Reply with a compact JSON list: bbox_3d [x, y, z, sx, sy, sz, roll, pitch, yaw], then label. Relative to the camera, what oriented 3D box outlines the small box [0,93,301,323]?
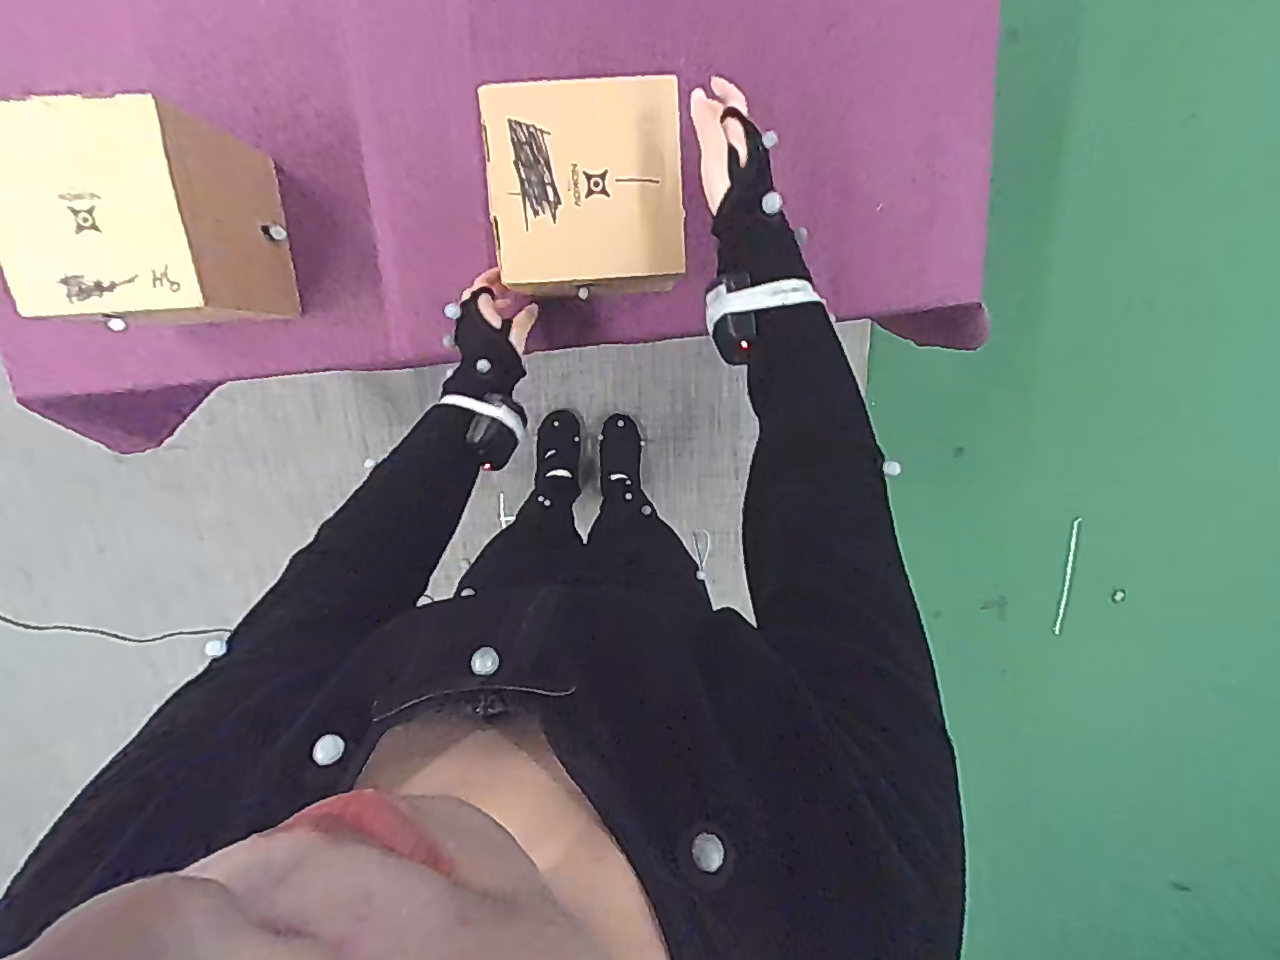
[{"bbox_3d":[-0.487,-0.260,0.555,0.168,0.176,0.179,-3,103,-2],"label":"small box"}]

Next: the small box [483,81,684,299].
[{"bbox_3d":[-0.051,-0.286,0.570,0.179,0.176,0.168,-4,104,-2],"label":"small box"}]
